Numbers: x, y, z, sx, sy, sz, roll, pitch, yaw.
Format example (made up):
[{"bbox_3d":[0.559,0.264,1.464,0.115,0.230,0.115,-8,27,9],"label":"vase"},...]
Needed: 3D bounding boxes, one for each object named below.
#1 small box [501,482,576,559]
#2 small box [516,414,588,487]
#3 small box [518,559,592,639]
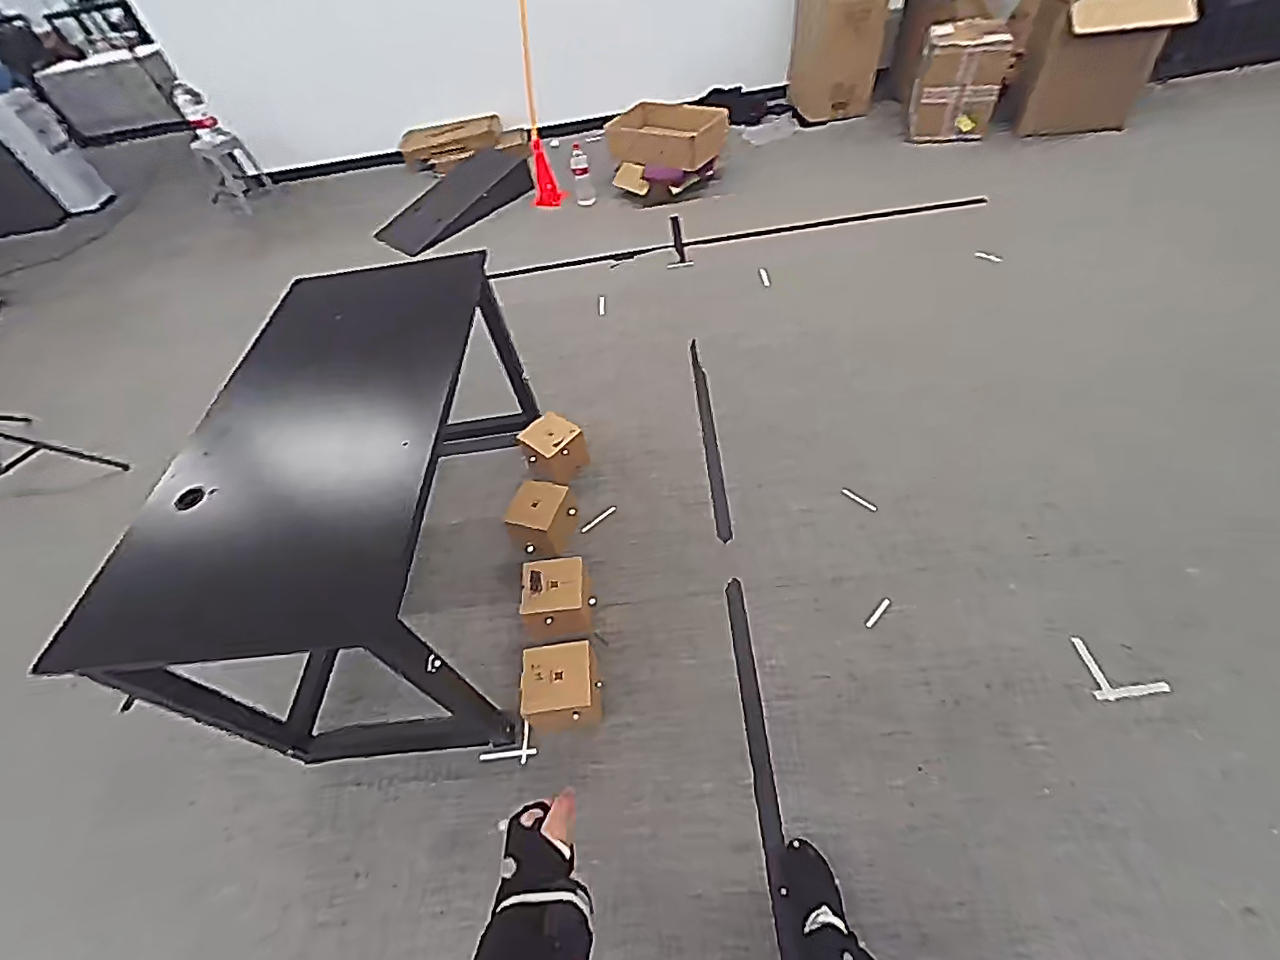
[{"bbox_3d":[-0.324,0.134,1.777,0.168,0.176,0.179,9,55,18],"label":"small box"},{"bbox_3d":[-0.316,-0.104,1.964,0.179,0.176,0.168,31,62,29],"label":"small box"},{"bbox_3d":[-0.244,0.352,1.585,0.179,0.176,0.168,-7,51,2],"label":"small box"}]
